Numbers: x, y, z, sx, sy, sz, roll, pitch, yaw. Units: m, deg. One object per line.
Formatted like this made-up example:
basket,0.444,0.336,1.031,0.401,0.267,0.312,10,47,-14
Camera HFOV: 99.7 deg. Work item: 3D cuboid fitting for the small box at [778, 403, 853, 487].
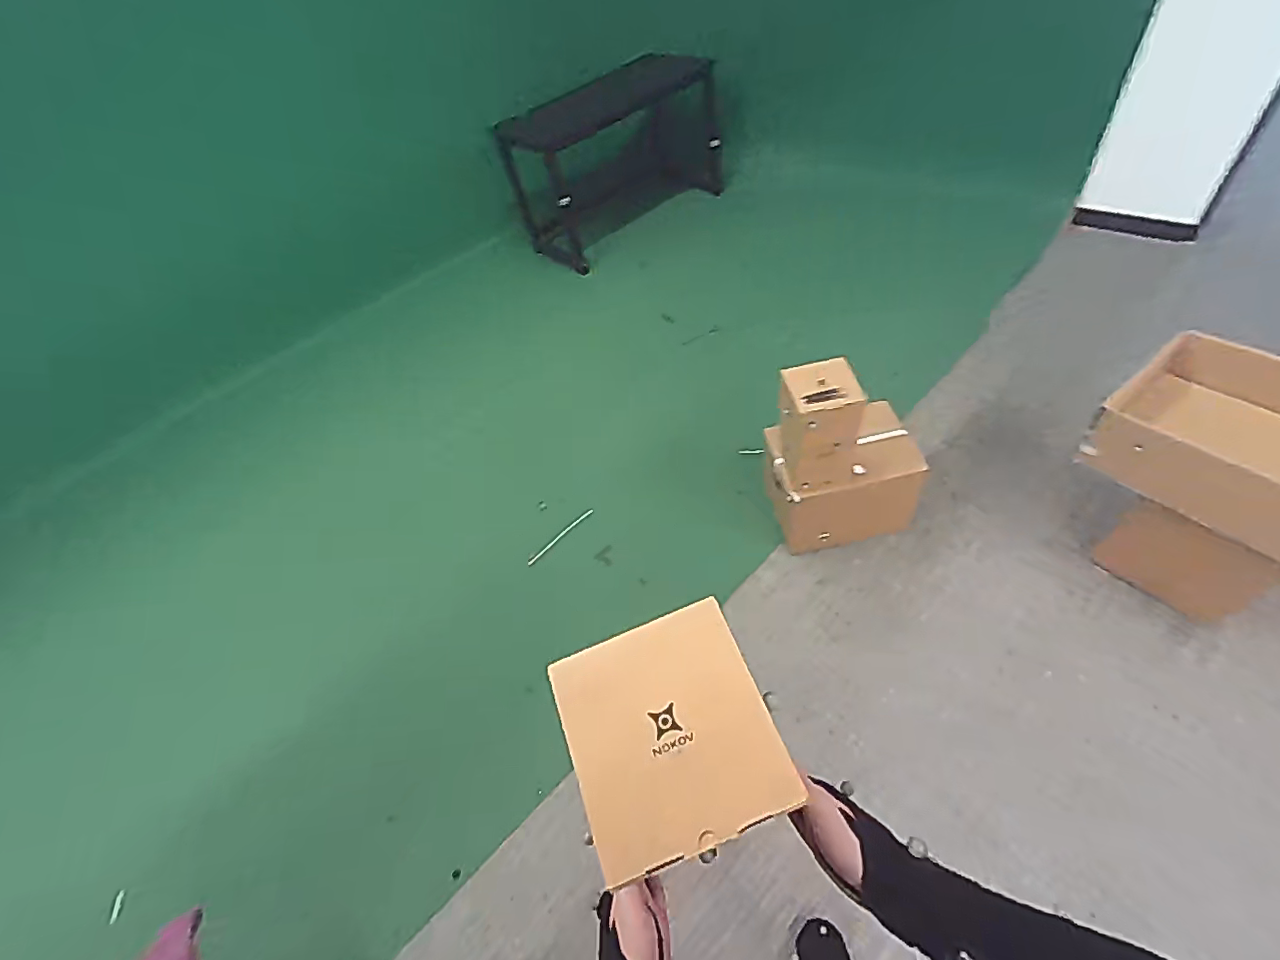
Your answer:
small box,0.504,-0.094,1.574,0.168,0.176,0.179,-10,49,4

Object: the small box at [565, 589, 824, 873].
small box,0.045,0.234,0.511,0.168,0.176,0.179,-21,59,-4
